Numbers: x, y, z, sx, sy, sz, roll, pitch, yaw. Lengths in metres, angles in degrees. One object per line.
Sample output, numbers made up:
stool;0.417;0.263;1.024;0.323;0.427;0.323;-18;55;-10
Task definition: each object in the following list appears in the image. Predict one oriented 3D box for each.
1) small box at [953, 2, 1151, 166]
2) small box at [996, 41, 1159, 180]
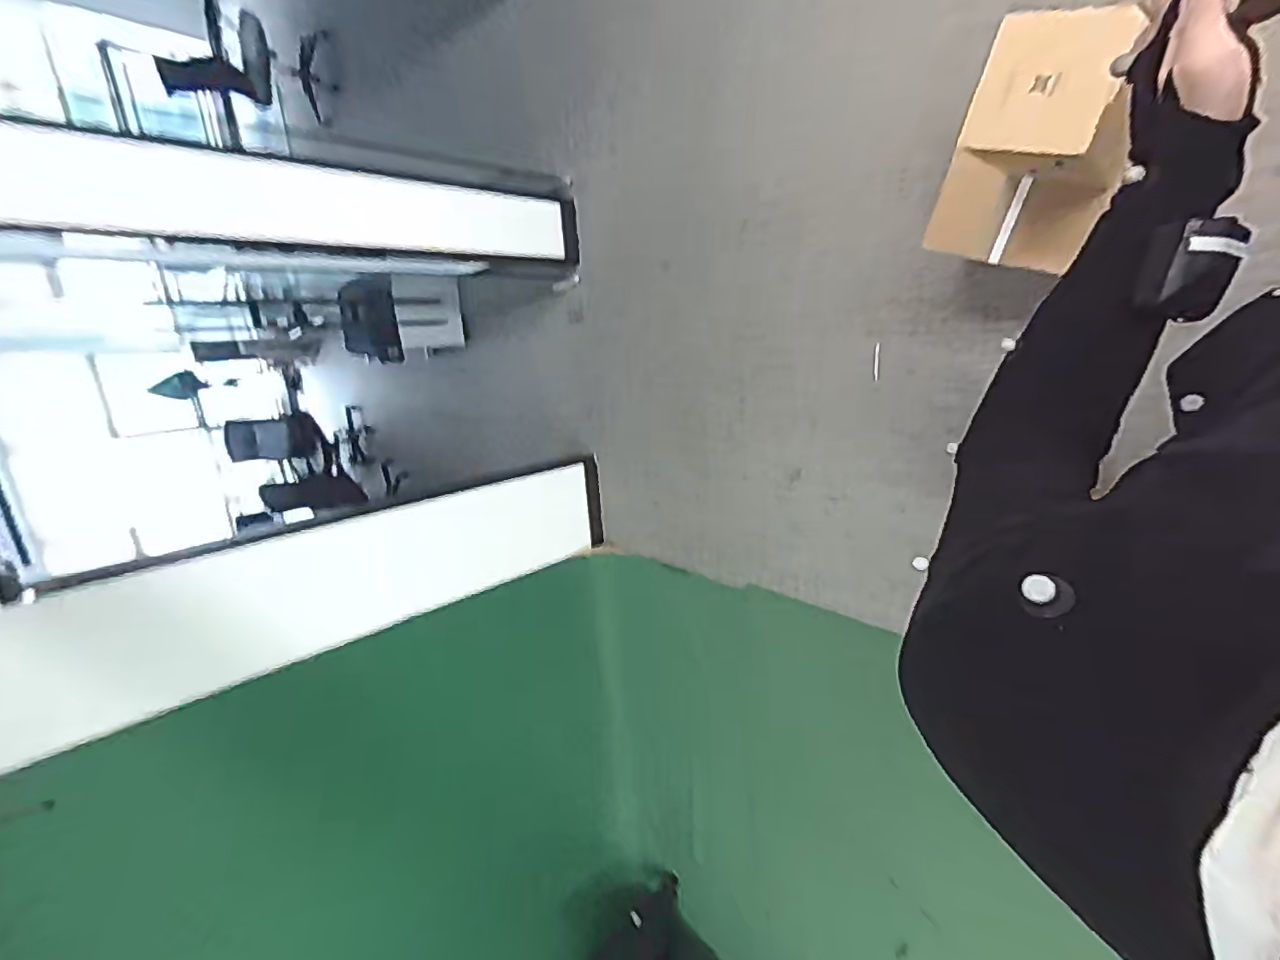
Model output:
small box;0.618;-0.583;0.813;0.179;0.176;0.168;33;125;36
small box;0.731;-0.625;0.923;0.179;0.176;0.168;34;126;34
